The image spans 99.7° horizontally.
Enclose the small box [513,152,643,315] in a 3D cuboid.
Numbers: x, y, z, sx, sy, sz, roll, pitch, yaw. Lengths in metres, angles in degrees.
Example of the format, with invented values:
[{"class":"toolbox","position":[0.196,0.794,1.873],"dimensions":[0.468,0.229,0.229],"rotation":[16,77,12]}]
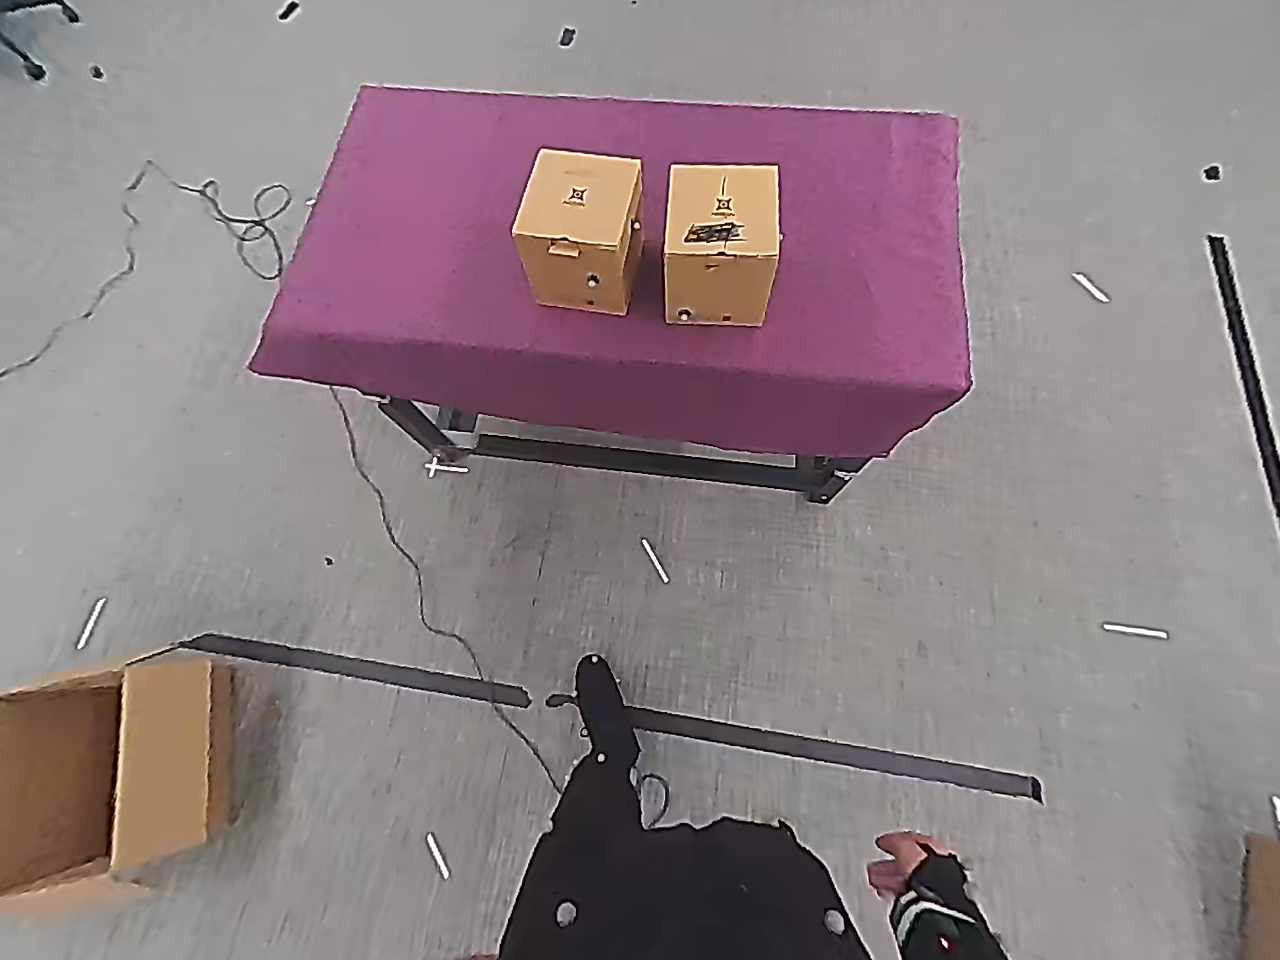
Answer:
[{"class":"small box","position":[-0.091,-0.401,0.898],"dimensions":[0.168,0.176,0.179],"rotation":[11,71,6]}]

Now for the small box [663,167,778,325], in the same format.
[{"class":"small box","position":[0.127,-0.371,0.875],"dimensions":[0.168,0.176,0.179],"rotation":[3,70,4]}]
